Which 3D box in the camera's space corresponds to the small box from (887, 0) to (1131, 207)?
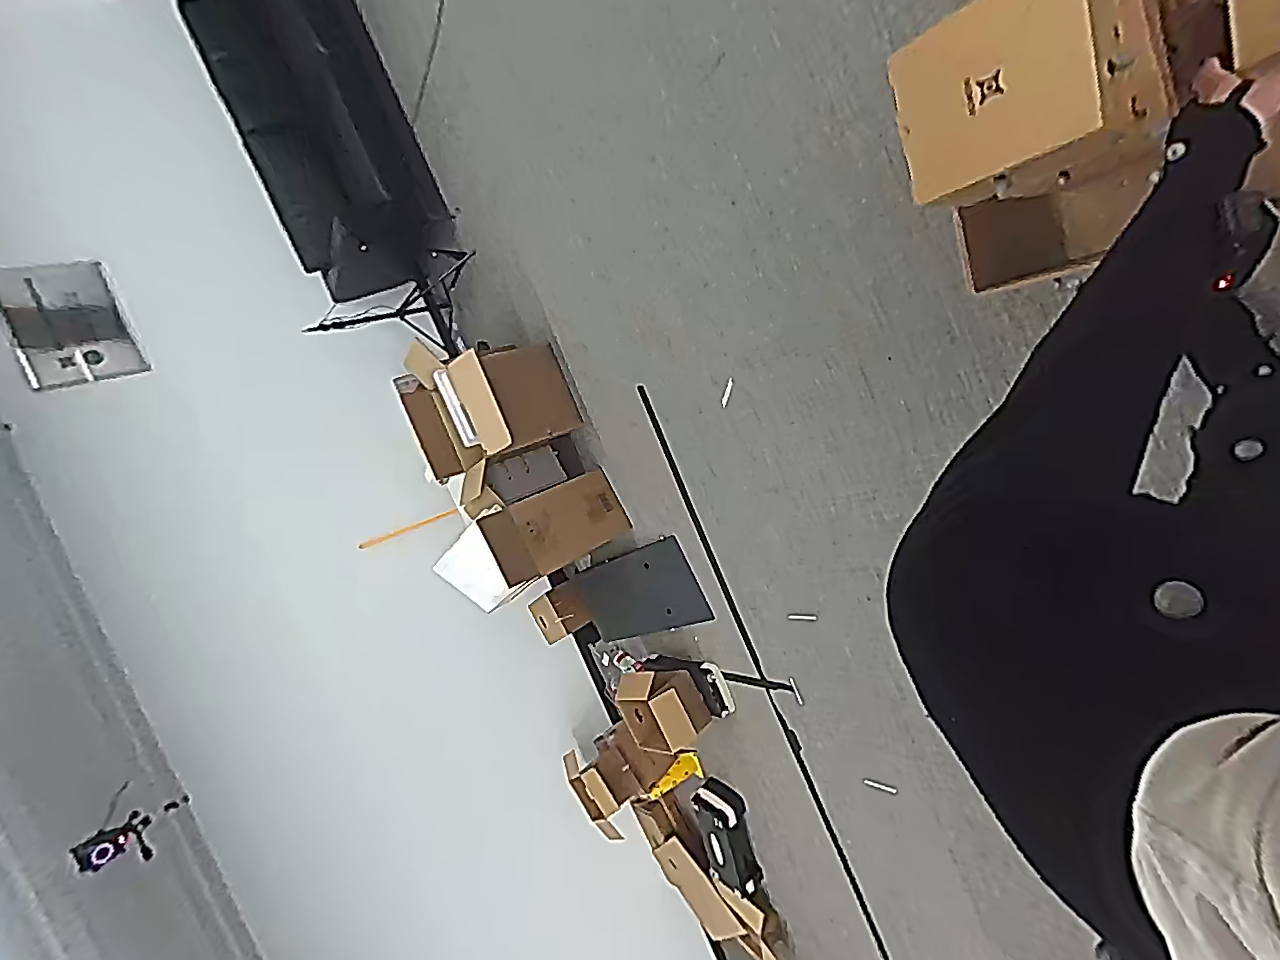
[{"bbox_3d":[0.409,-0.424,0.595,0.179,0.176,0.168,-4,107,53],"label":"small box"}]
